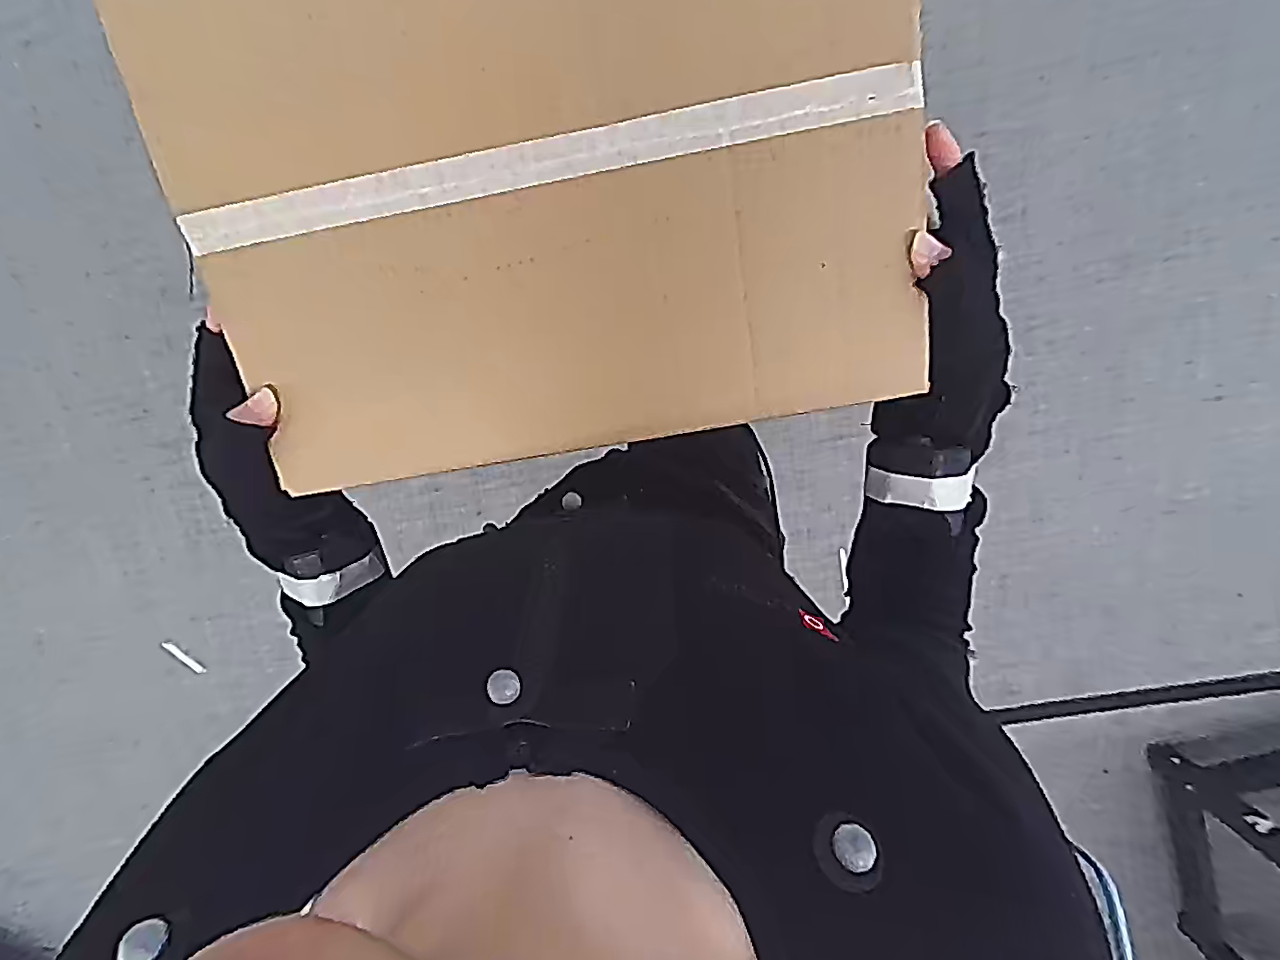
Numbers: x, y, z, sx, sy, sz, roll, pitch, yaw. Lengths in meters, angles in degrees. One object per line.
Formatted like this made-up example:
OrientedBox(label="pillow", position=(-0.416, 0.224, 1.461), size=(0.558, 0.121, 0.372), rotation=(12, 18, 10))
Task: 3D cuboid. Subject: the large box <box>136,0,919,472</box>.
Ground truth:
OrientedBox(label="large box", position=(-0.050, -0.222, 0.444), size=(0.408, 0.320, 0.320), rotation=(-9, 107, 4))
